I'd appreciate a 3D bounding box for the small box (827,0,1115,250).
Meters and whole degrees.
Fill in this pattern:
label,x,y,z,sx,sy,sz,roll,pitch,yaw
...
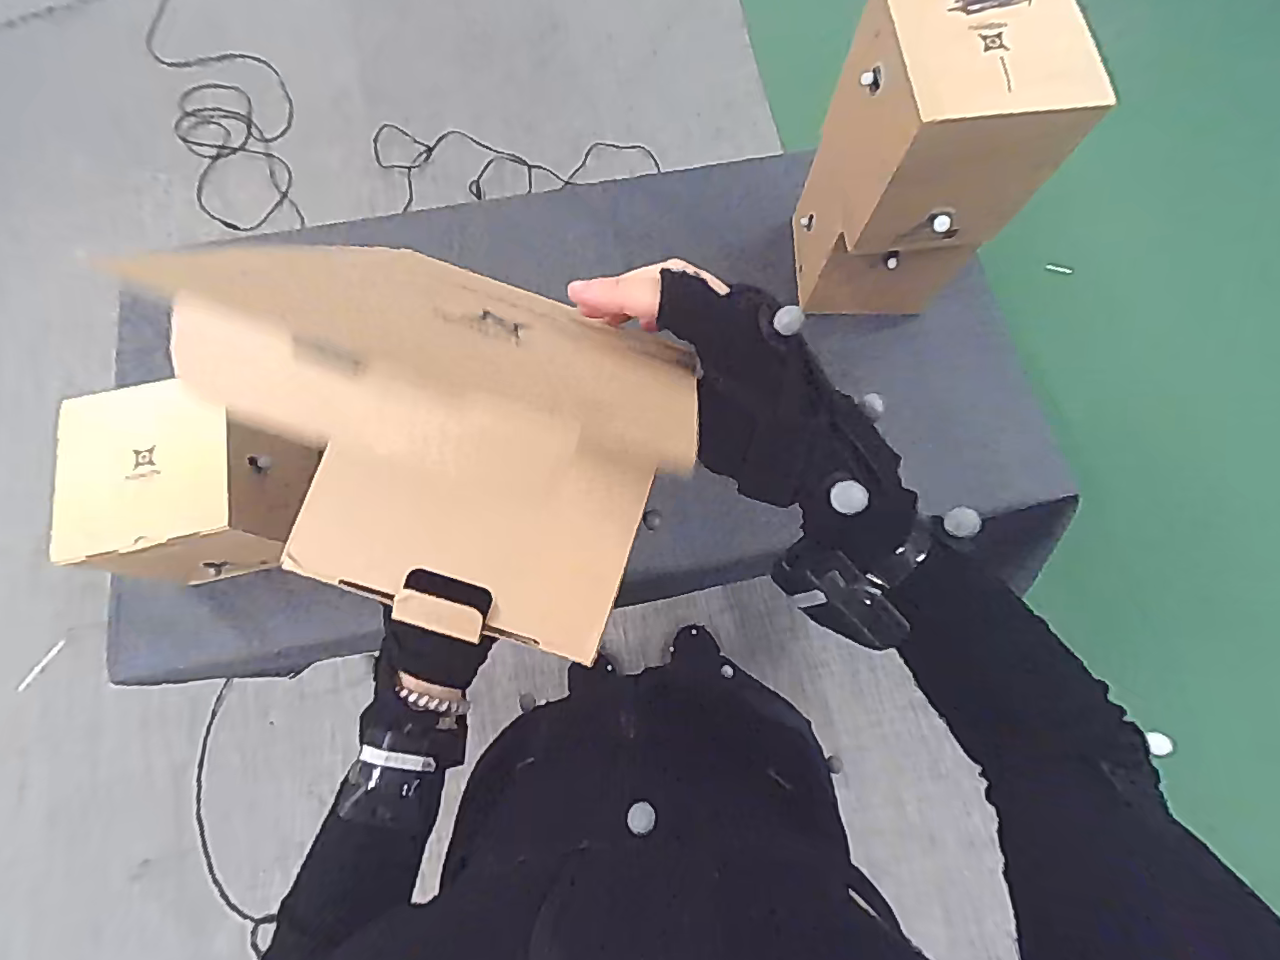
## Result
label,x,y,z,sx,sy,sz,roll,pitch,yaw
small box,0.304,-0.363,0.543,0.168,0.176,0.179,-5,75,0

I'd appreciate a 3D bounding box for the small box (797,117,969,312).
label,x,y,z,sx,sy,sz,roll,pitch,yaw
small box,0.311,-0.337,0.706,0.179,0.176,0.168,1,75,0

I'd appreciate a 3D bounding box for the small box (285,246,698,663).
label,x,y,z,sx,sy,sz,roll,pitch,yaw
small box,-0.077,-0.008,0.356,0.168,0.176,0.179,20,83,-2

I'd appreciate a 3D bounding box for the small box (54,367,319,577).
label,x,y,z,sx,sy,sz,roll,pitch,yaw
small box,-0.487,0.000,0.612,0.168,0.176,0.179,-12,75,-4
